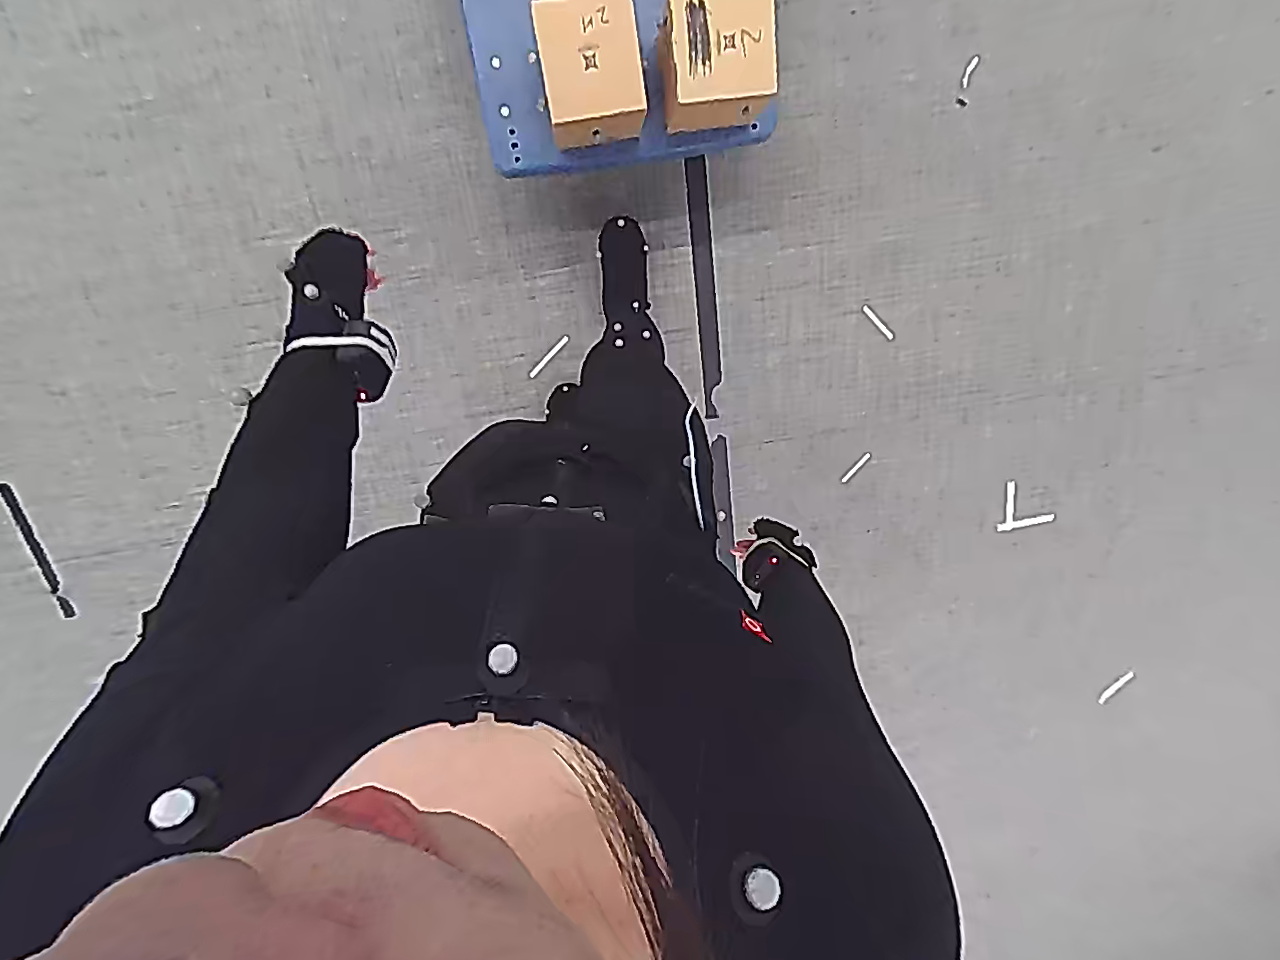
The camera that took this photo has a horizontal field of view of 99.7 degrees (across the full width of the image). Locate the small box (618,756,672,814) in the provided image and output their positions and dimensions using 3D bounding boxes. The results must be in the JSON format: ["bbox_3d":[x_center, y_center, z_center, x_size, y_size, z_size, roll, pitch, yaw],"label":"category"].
[{"bbox_3d":[0.022,1.049,1.778,0.168,0.176,0.179,-9,109,-2],"label":"small box"}]

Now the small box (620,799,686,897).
[{"bbox_3d":[0.035,1.098,1.622,0.179,0.176,0.168,-9,110,-1],"label":"small box"}]

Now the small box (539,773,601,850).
[{"bbox_3d":[-0.225,1.092,1.776,0.179,0.176,0.168,-6,109,-1],"label":"small box"}]

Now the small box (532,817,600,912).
[{"bbox_3d":[-0.215,1.144,1.619,0.179,0.176,0.168,-7,109,0],"label":"small box"}]

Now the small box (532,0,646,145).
[{"bbox_3d":[-0.085,-0.721,0.966,0.168,0.176,0.179,-10,108,-1],"label":"small box"}]
